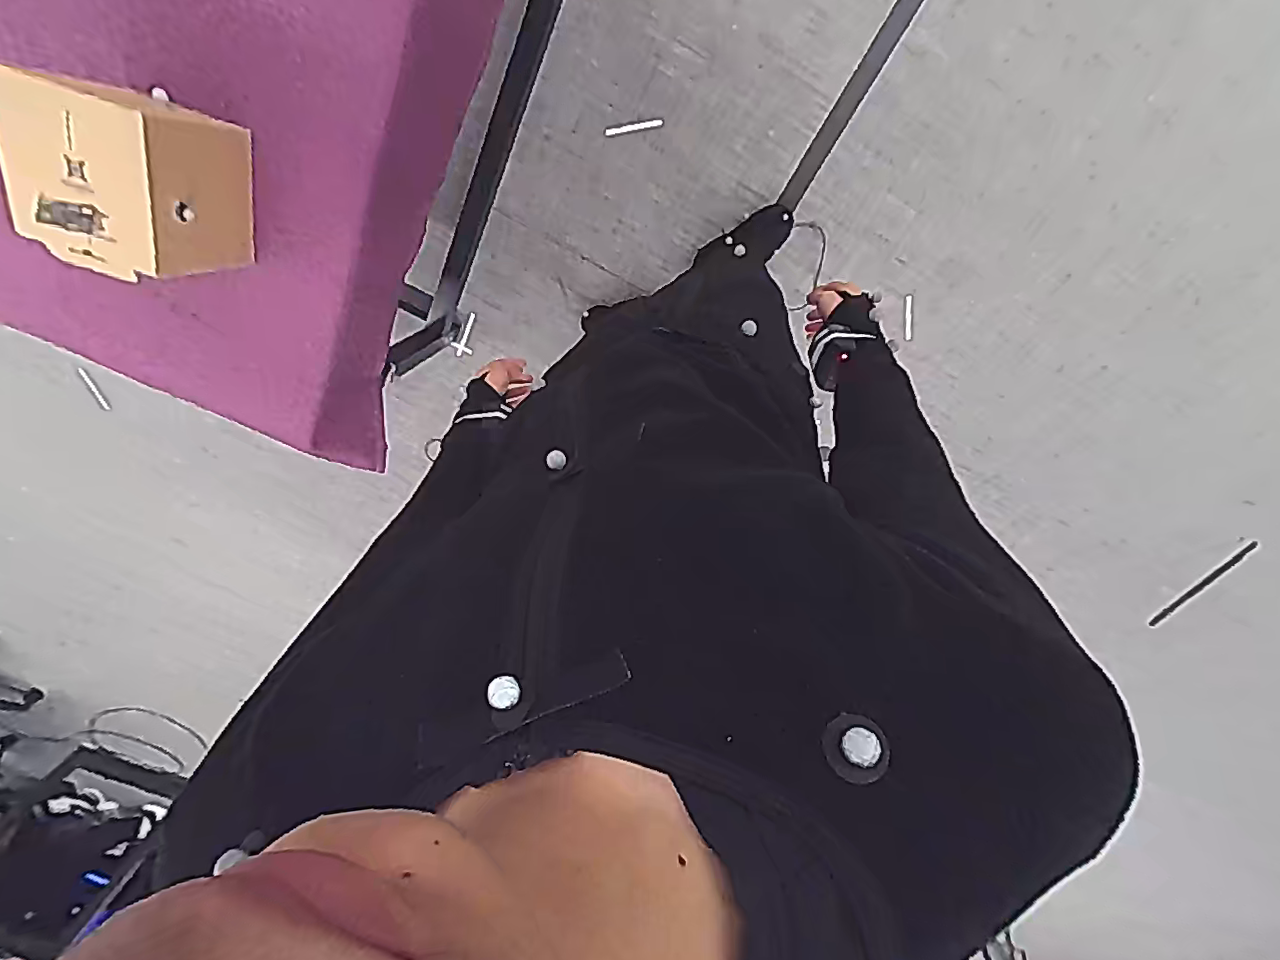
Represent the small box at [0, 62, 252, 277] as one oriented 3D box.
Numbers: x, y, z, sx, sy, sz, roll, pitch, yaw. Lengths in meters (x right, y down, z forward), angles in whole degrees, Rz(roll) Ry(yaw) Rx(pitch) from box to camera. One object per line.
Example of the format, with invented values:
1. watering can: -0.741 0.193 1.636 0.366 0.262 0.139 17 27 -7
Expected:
1. small box: -0.621 -0.375 0.673 0.168 0.176 0.179 17 117 -5
